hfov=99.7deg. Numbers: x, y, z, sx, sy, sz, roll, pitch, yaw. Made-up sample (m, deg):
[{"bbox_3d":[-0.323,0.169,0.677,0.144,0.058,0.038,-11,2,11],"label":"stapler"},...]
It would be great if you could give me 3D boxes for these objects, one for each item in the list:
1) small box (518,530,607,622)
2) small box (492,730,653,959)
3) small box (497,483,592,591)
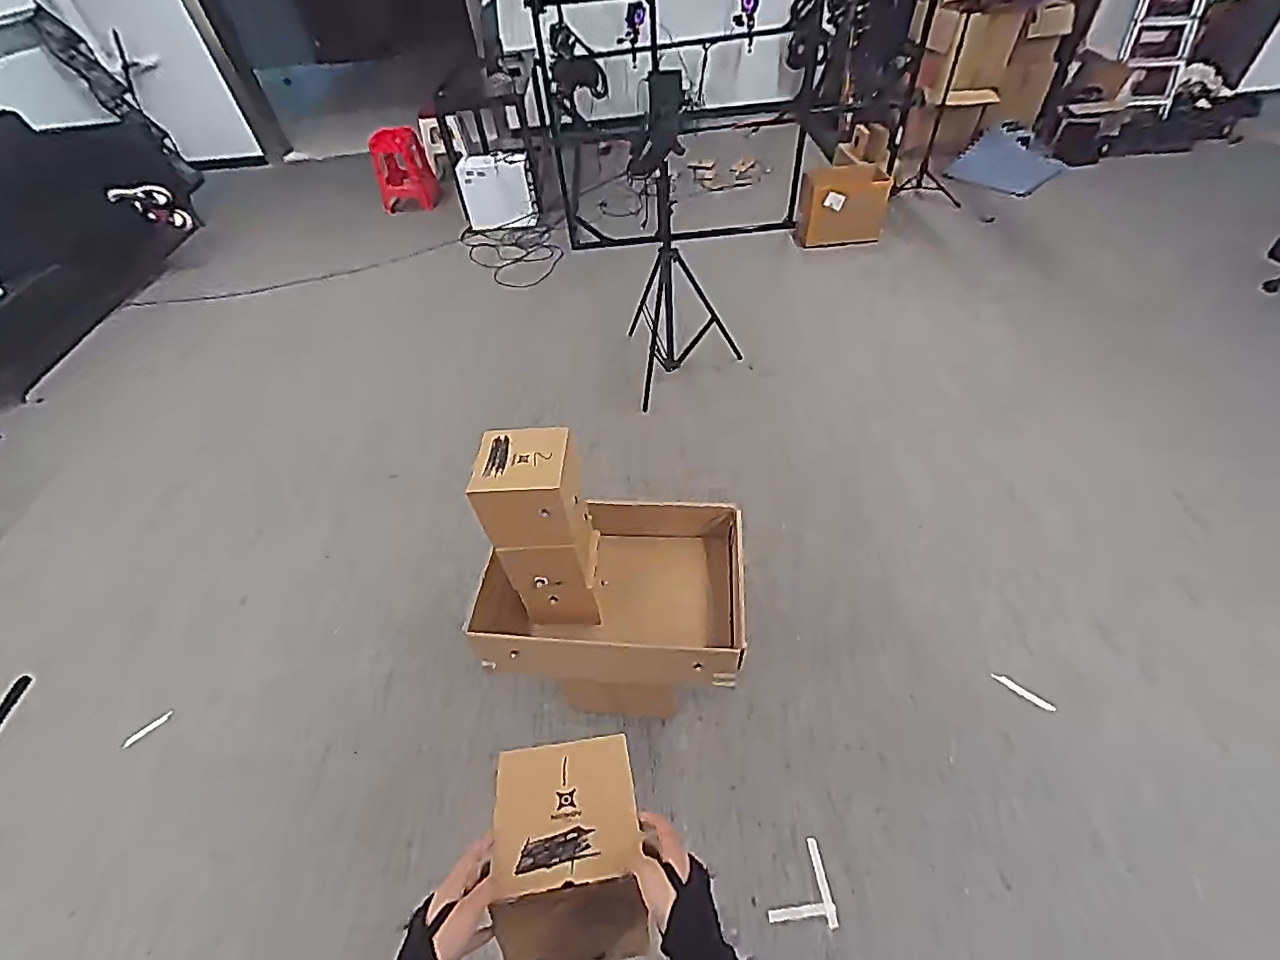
[{"bbox_3d":[-0.181,0.237,1.321,0.179,0.176,0.168,0,49,4],"label":"small box"},{"bbox_3d":[-0.078,0.449,0.667,0.168,0.176,0.179,-5,26,-7],"label":"small box"},{"bbox_3d":[-0.202,0.127,1.201,0.168,0.176,0.179,-3,48,4],"label":"small box"}]
